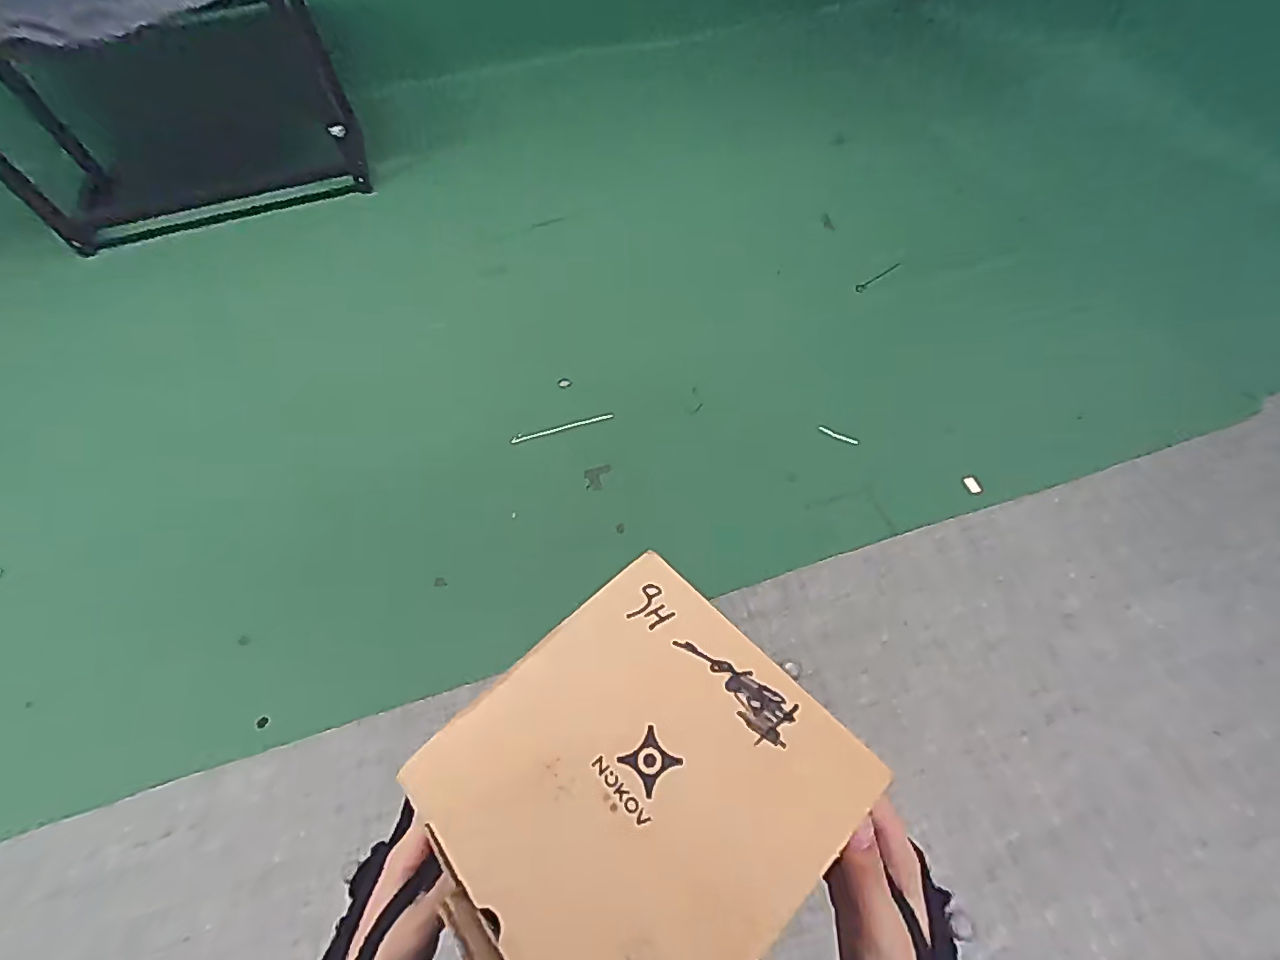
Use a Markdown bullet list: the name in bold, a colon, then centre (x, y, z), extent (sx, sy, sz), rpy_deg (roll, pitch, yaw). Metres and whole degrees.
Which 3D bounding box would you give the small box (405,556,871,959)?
- **small box**: centre (0.003, 0.187, 0.329), extent (0.179, 0.176, 0.168), rpy_deg (-39, 60, -19)
